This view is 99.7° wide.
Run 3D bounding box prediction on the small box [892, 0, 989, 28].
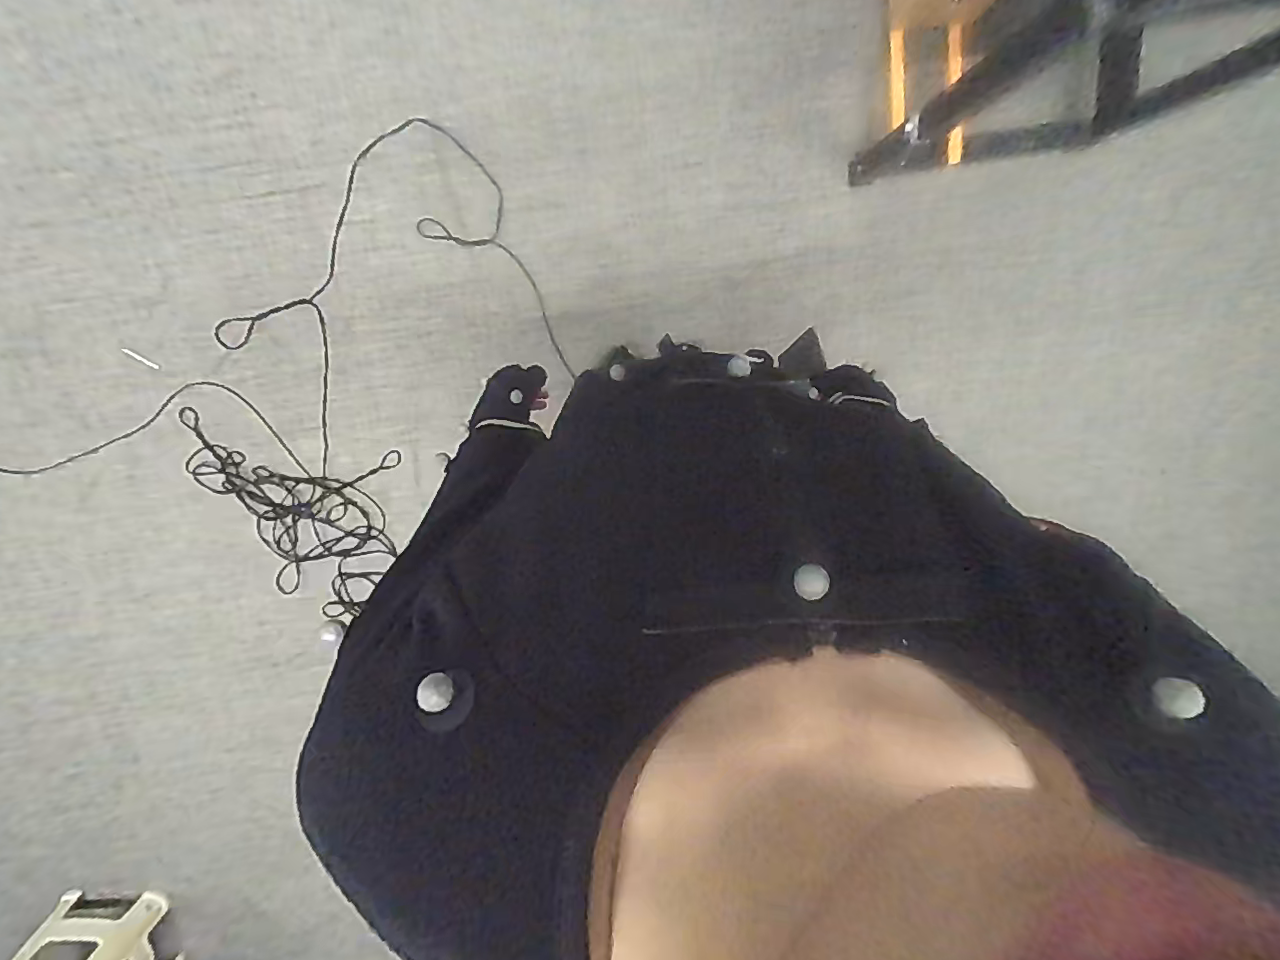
[{"bbox_3d":[0.611,-1.020,1.050,0.179,0.176,0.168,-4,105,1],"label":"small box"}]
